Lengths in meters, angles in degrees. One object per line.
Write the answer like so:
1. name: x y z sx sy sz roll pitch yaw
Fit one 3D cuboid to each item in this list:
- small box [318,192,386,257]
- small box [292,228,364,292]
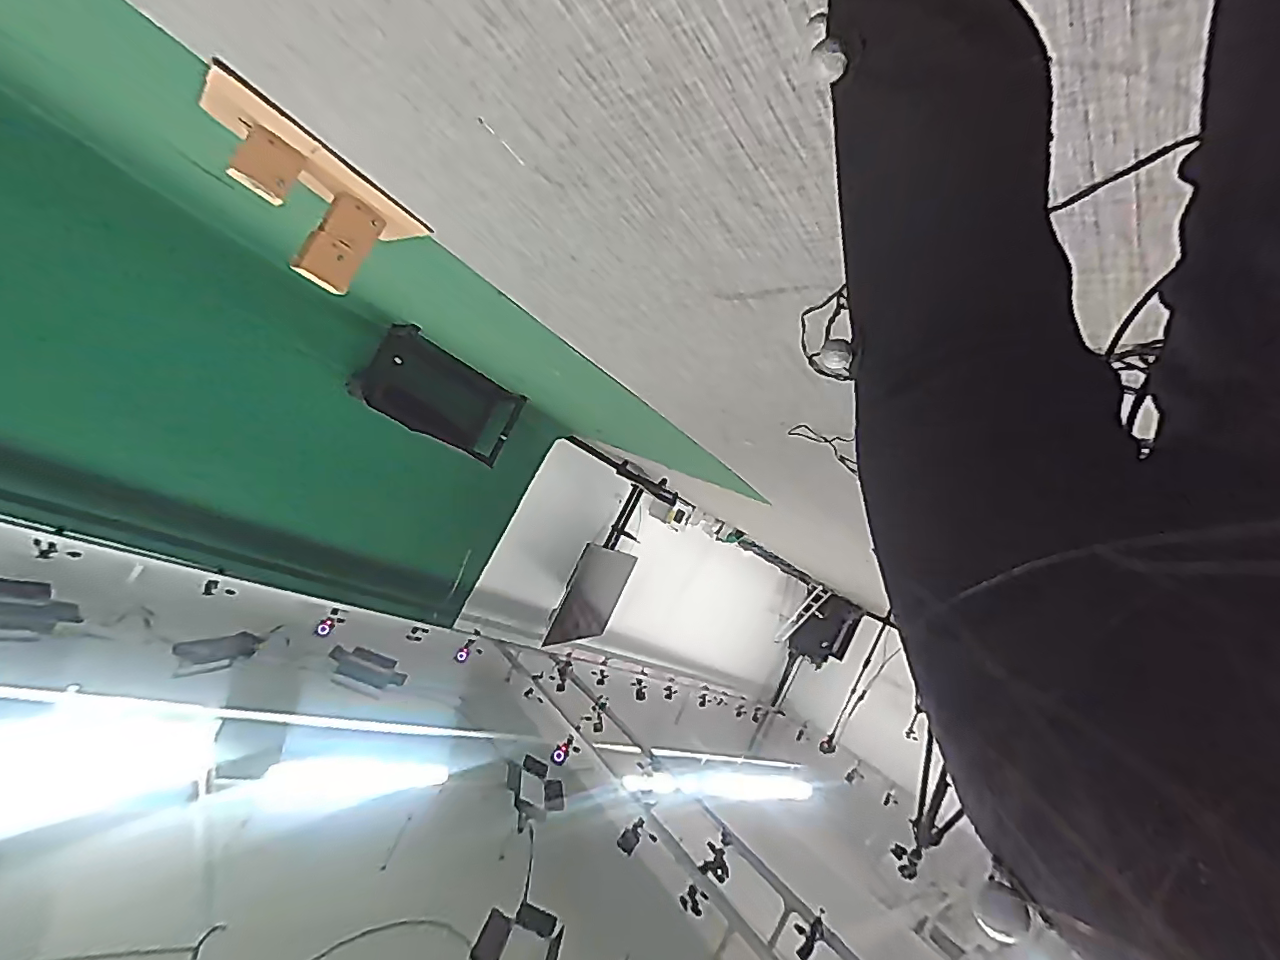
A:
1. small box: -1.121 -0.994 2.106 0.179 0.176 0.168 25 175 45
2. small box: -1.209 -0.856 2.099 0.179 0.176 0.168 24 174 44
